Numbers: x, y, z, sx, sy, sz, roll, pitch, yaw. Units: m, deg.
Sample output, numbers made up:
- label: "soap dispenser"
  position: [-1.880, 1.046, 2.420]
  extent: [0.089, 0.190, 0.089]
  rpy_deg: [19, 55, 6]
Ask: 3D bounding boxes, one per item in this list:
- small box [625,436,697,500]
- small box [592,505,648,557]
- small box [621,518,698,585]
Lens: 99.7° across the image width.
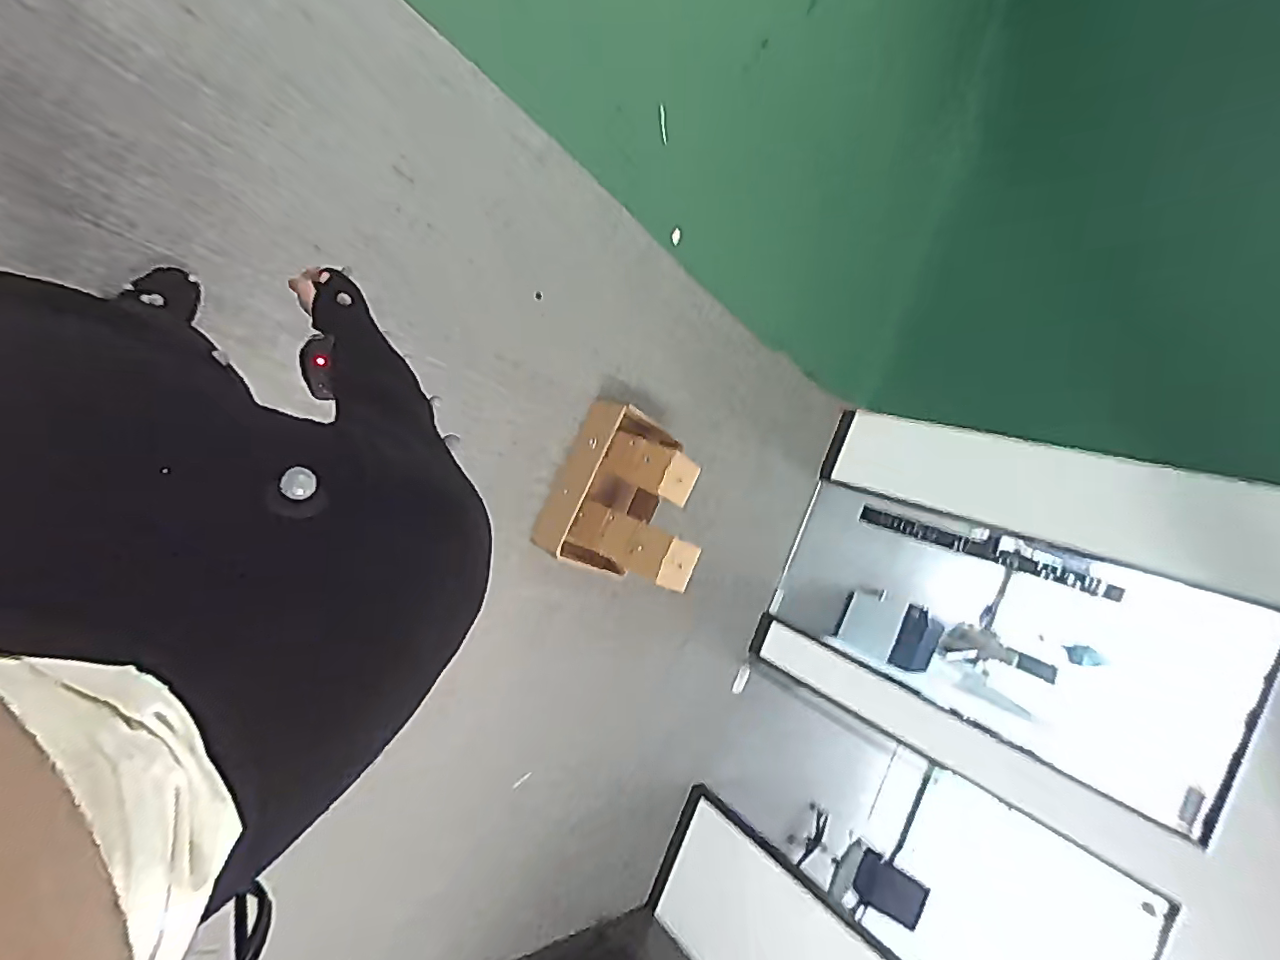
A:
- label: "small box"
  position: [0.077, -0.048, 2.019]
  extent: [0.179, 0.176, 0.168]
  rpy_deg: [29, 86, -48]
- label: "small box"
  position: [-0.045, 0.205, 1.998]
  extent: [0.179, 0.176, 0.168]
  rpy_deg: [31, 82, -48]
- label: "small box"
  position: [0.067, 0.246, 1.884]
  extent: [0.179, 0.176, 0.168]
  rpy_deg: [28, 83, -47]
